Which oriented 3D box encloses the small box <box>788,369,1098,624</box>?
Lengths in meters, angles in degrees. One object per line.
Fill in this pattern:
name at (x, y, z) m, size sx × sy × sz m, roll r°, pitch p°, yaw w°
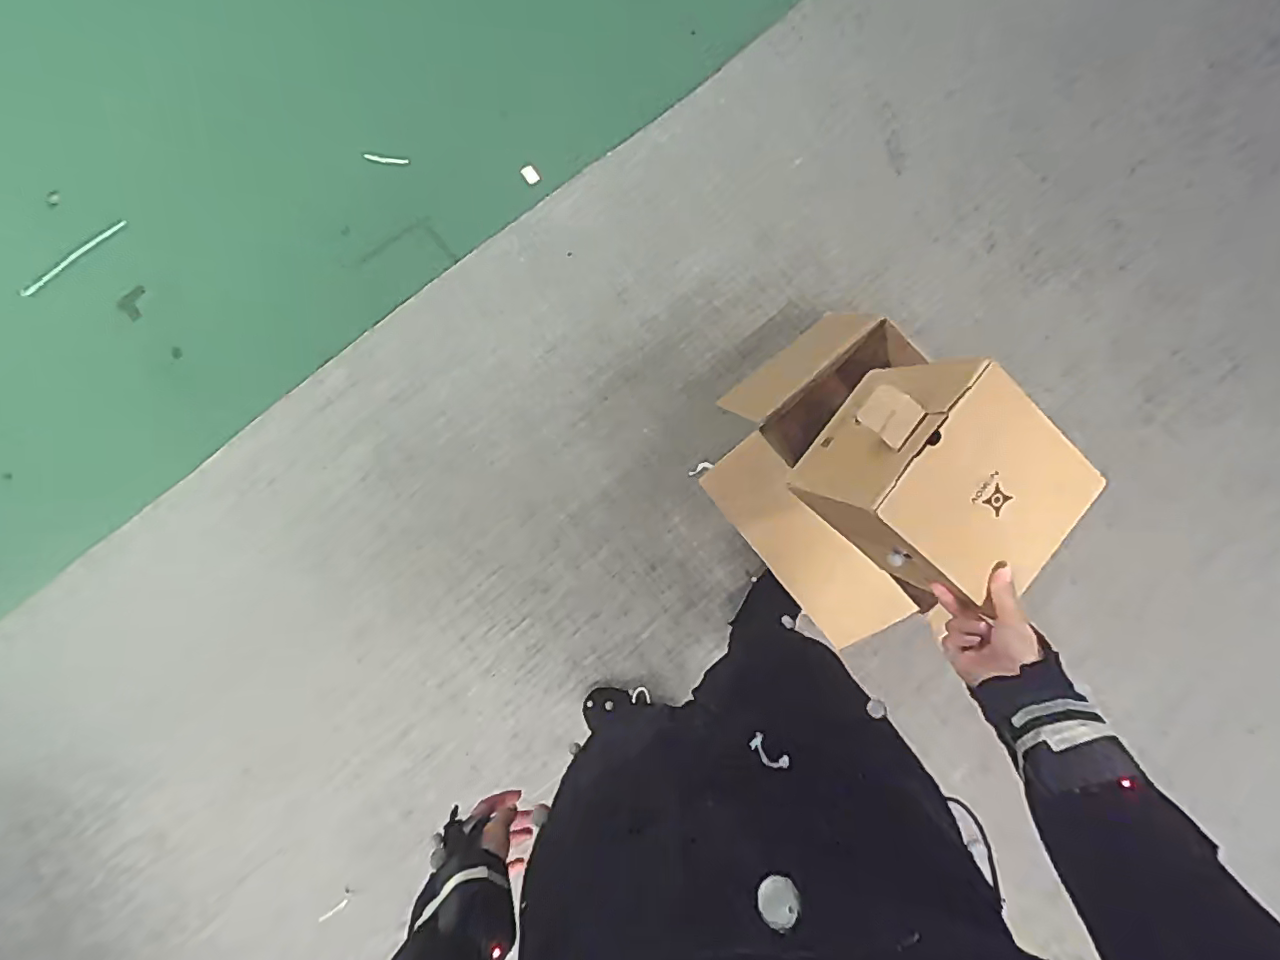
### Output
small box at (0.290, 0.007, 0.551) m, size 0.179 × 0.176 × 0.168 m, roll 39°, pitch 89°, yaw -13°
